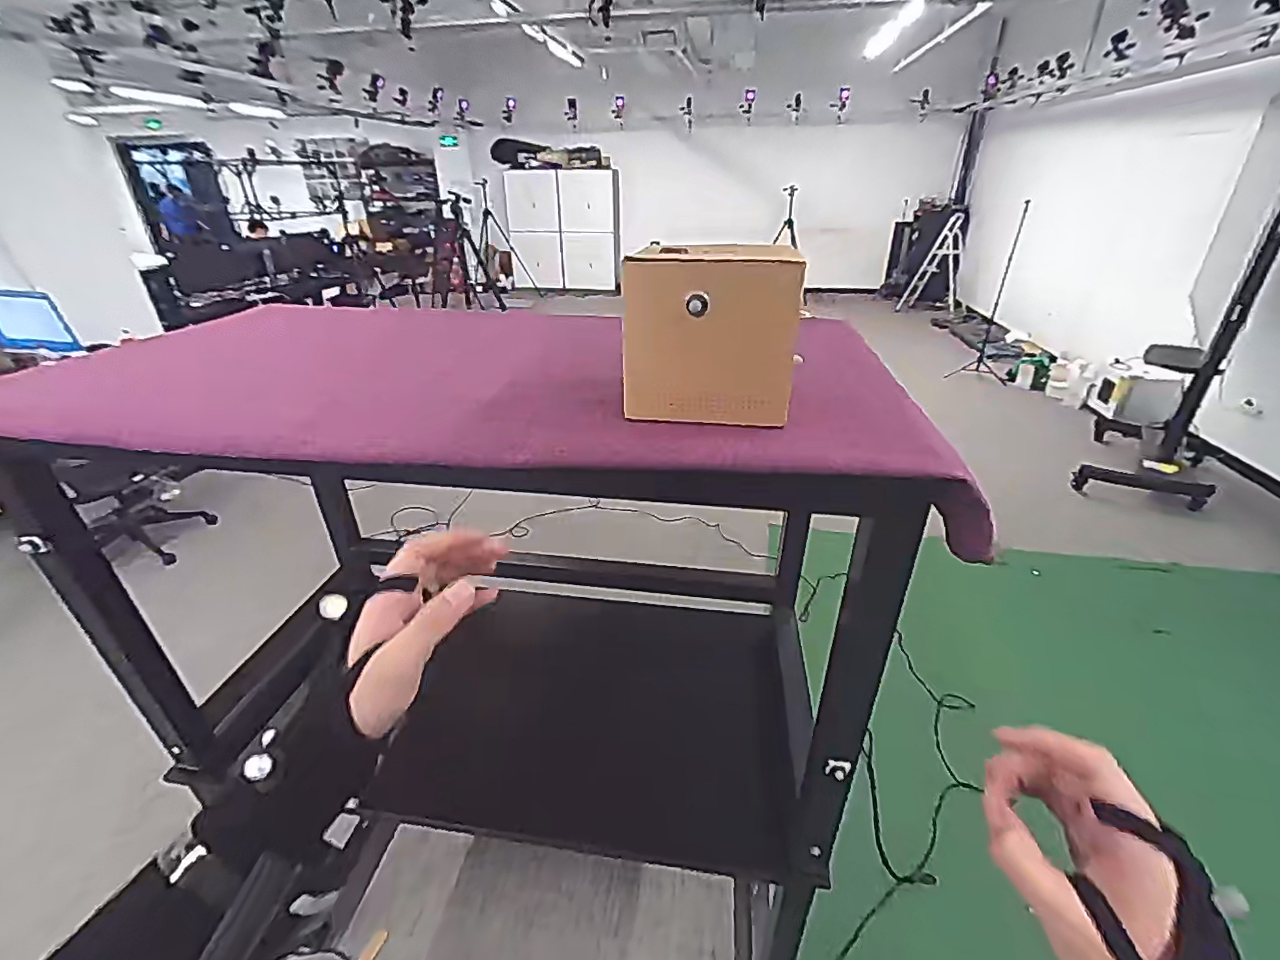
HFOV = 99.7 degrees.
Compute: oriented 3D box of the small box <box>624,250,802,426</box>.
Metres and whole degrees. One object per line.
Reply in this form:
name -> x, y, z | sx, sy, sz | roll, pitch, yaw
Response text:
small box -> 0.083, -0.169, 0.627 | 0.179, 0.176, 0.168 | 4, 28, 8
